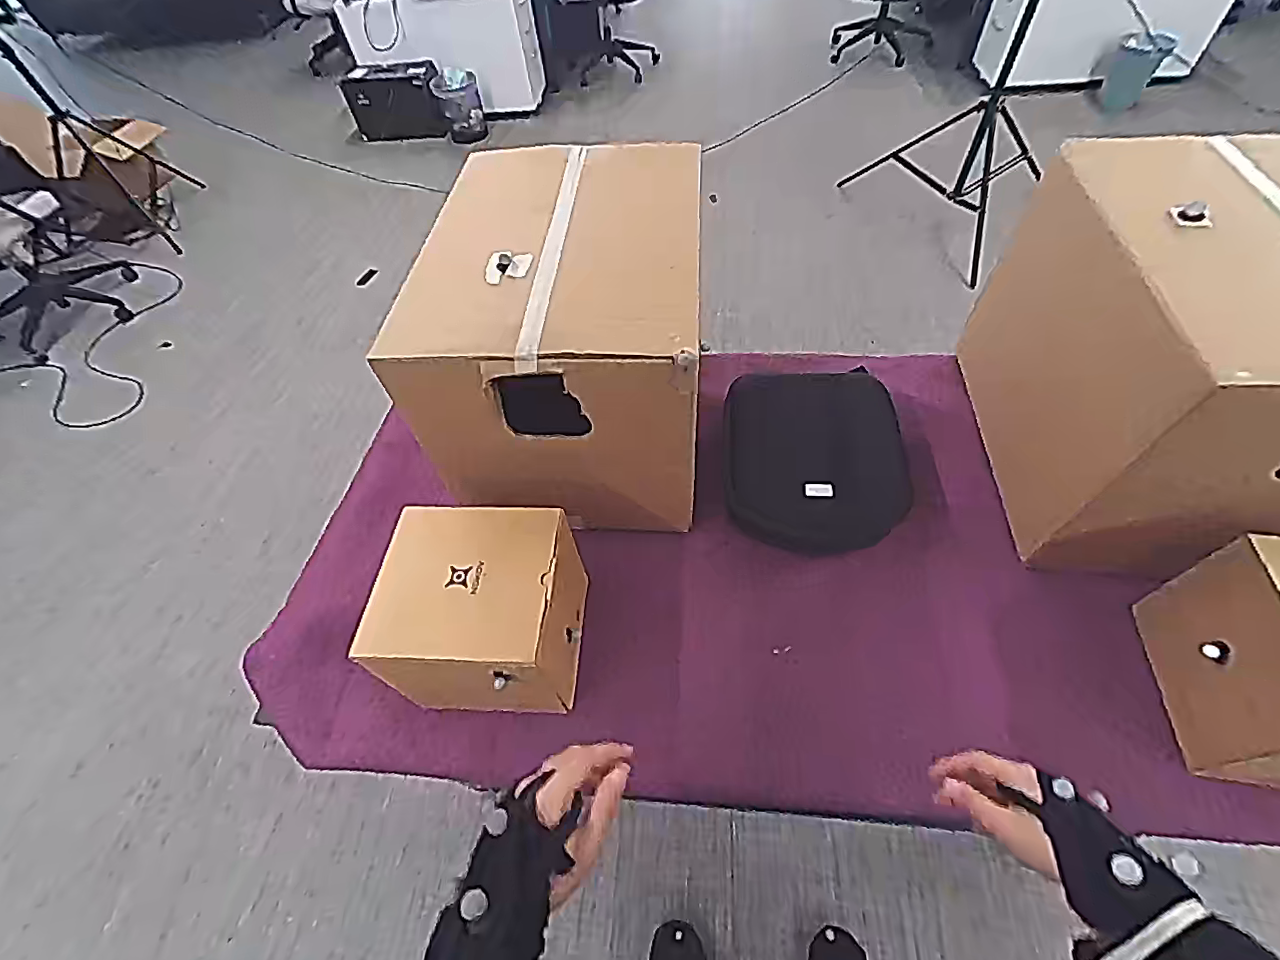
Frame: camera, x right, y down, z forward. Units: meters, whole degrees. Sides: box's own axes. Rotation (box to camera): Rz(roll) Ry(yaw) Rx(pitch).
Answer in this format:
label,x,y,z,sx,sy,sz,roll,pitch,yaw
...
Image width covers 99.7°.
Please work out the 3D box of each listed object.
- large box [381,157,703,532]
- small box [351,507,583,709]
label,x,y,z,sx,sy,sz,roll,pitch,yaw
large box,-0.079,-0.177,0.733,0.320,0.320,0.408,0,56,6
small box,-0.168,0.144,0.592,0.179,0.176,0.168,0,53,4
